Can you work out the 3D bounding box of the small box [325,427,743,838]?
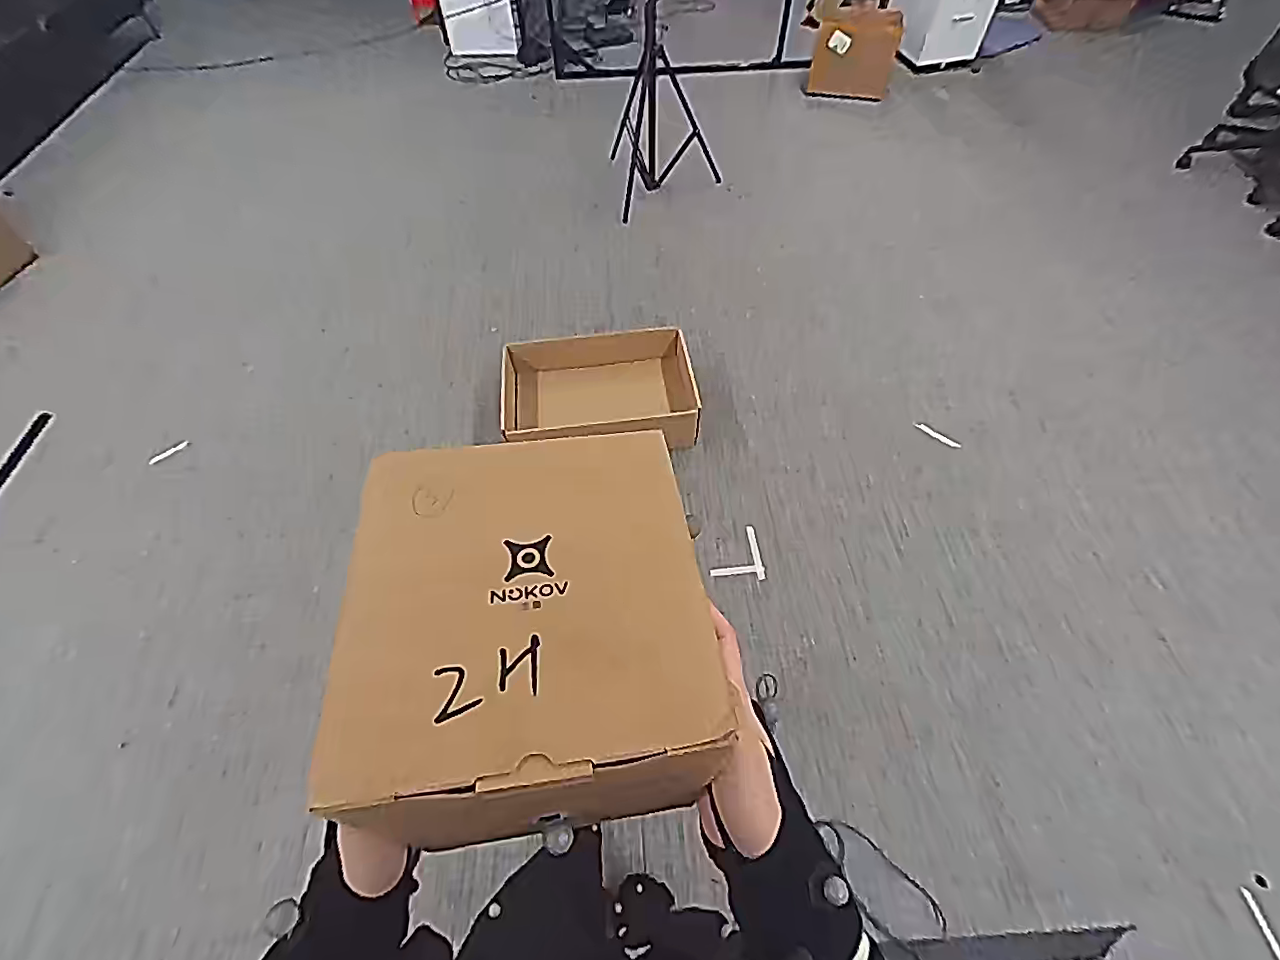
[{"bbox_3d":[-0.054,0.092,0.324,0.168,0.176,0.179,-6,52,-7],"label":"small box"}]
